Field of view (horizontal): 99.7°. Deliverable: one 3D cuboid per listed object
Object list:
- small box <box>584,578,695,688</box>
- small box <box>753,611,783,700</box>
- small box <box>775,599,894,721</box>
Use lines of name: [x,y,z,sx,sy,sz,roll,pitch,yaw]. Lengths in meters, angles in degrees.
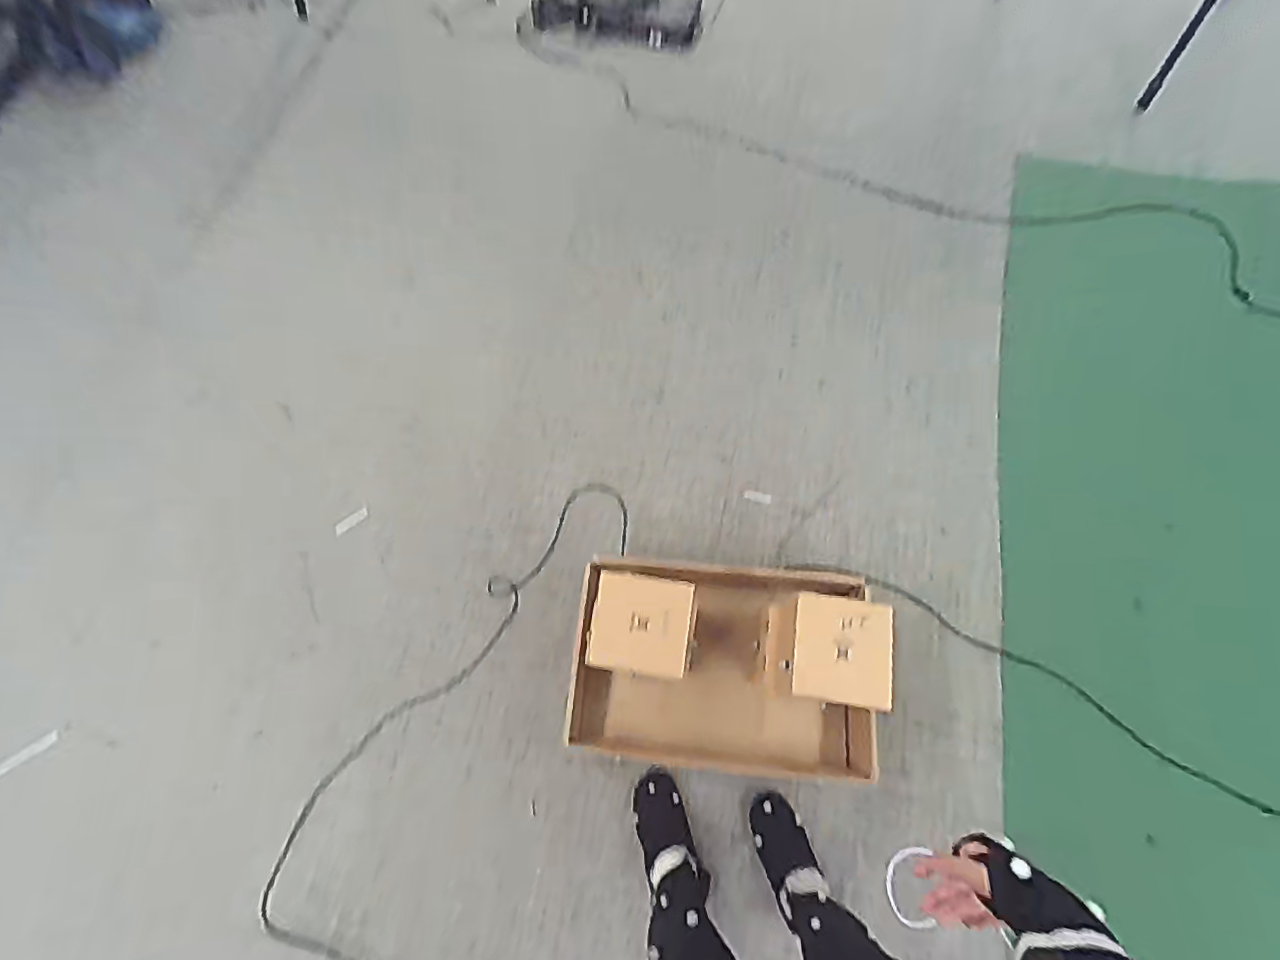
small box: [0.004,0.294,1.029,0.179,0.176,0.168,9,71,5]
small box: [0.344,0.386,1.154,0.179,0.176,0.168,8,70,6]
small box: [0.351,0.332,0.997,0.168,0.176,0.179,9,69,5]
